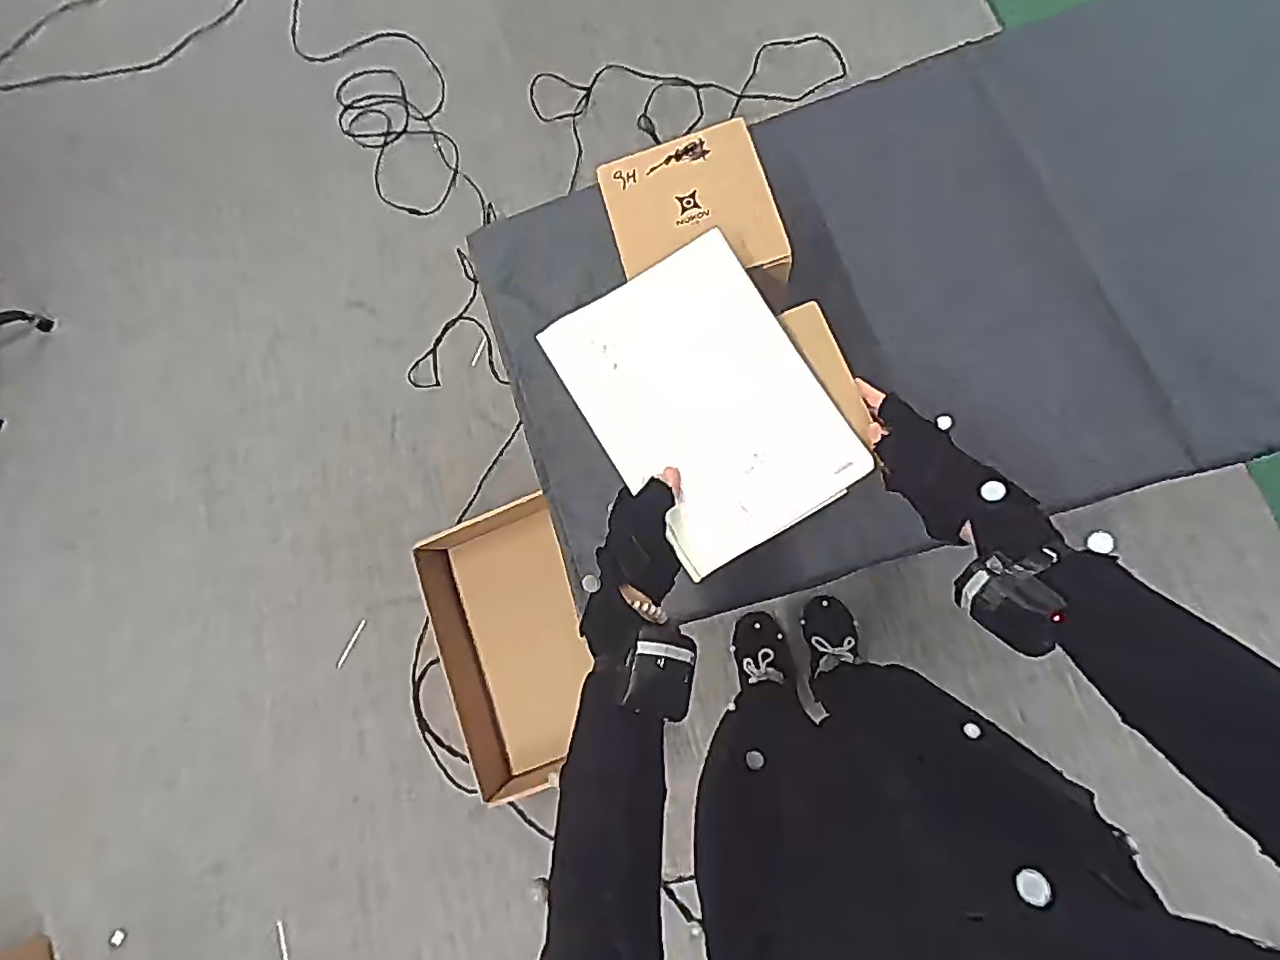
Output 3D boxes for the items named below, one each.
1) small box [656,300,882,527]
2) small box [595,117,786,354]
[{"bbox_3d":[0.130,-0.054,0.586,0.168,0.176,0.179,-20,77,5],"label":"small box"},{"bbox_3d":[0.062,-0.266,0.637,0.168,0.176,0.179,-16,79,6],"label":"small box"}]
